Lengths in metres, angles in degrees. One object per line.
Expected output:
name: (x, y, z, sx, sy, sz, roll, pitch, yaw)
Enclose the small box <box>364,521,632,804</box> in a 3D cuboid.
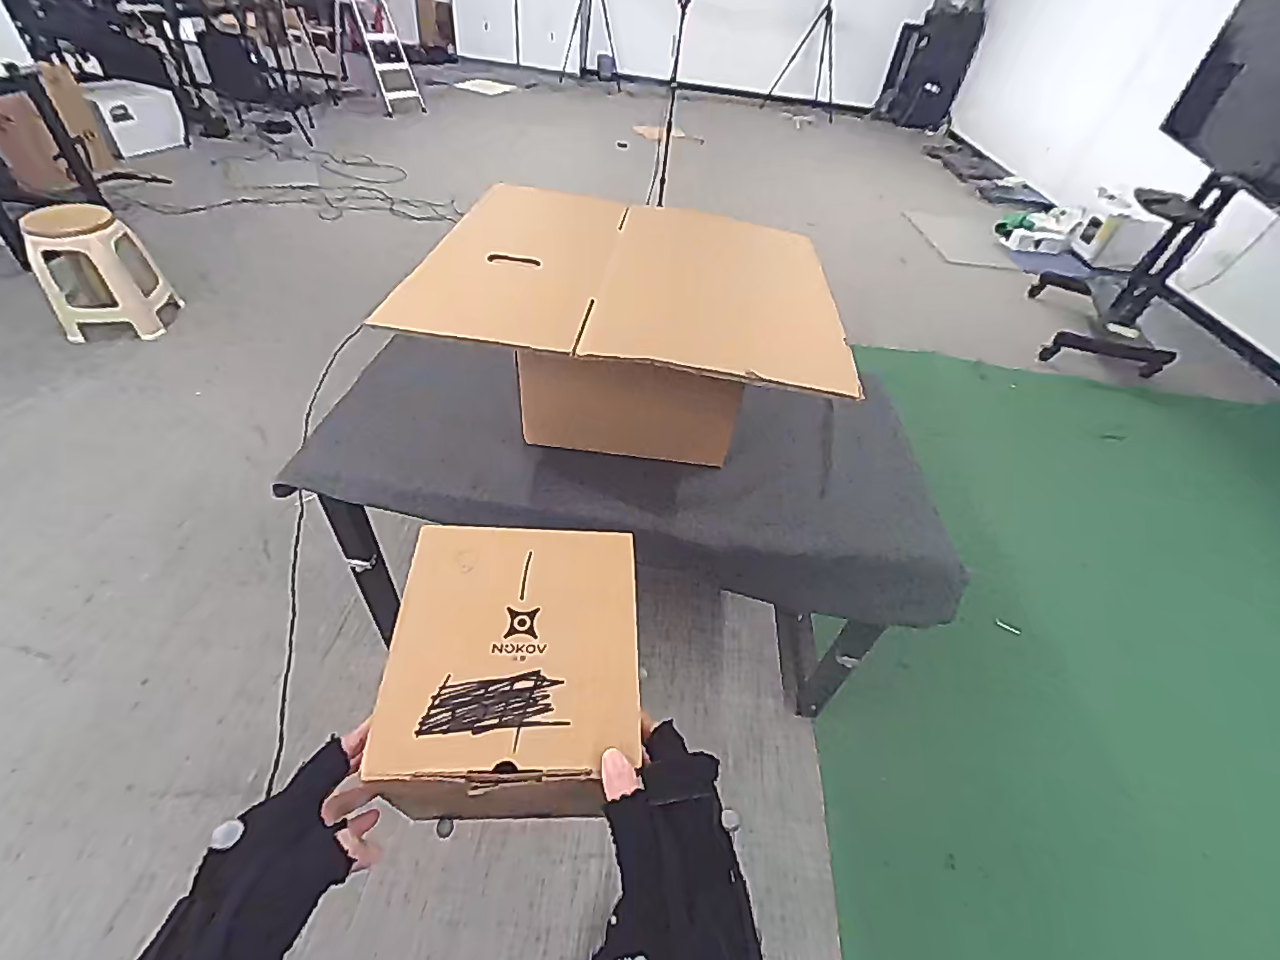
small box: (-0.096, 0.154, 0.442, 0.168, 0.176, 0.179, 3, 49, -7)
